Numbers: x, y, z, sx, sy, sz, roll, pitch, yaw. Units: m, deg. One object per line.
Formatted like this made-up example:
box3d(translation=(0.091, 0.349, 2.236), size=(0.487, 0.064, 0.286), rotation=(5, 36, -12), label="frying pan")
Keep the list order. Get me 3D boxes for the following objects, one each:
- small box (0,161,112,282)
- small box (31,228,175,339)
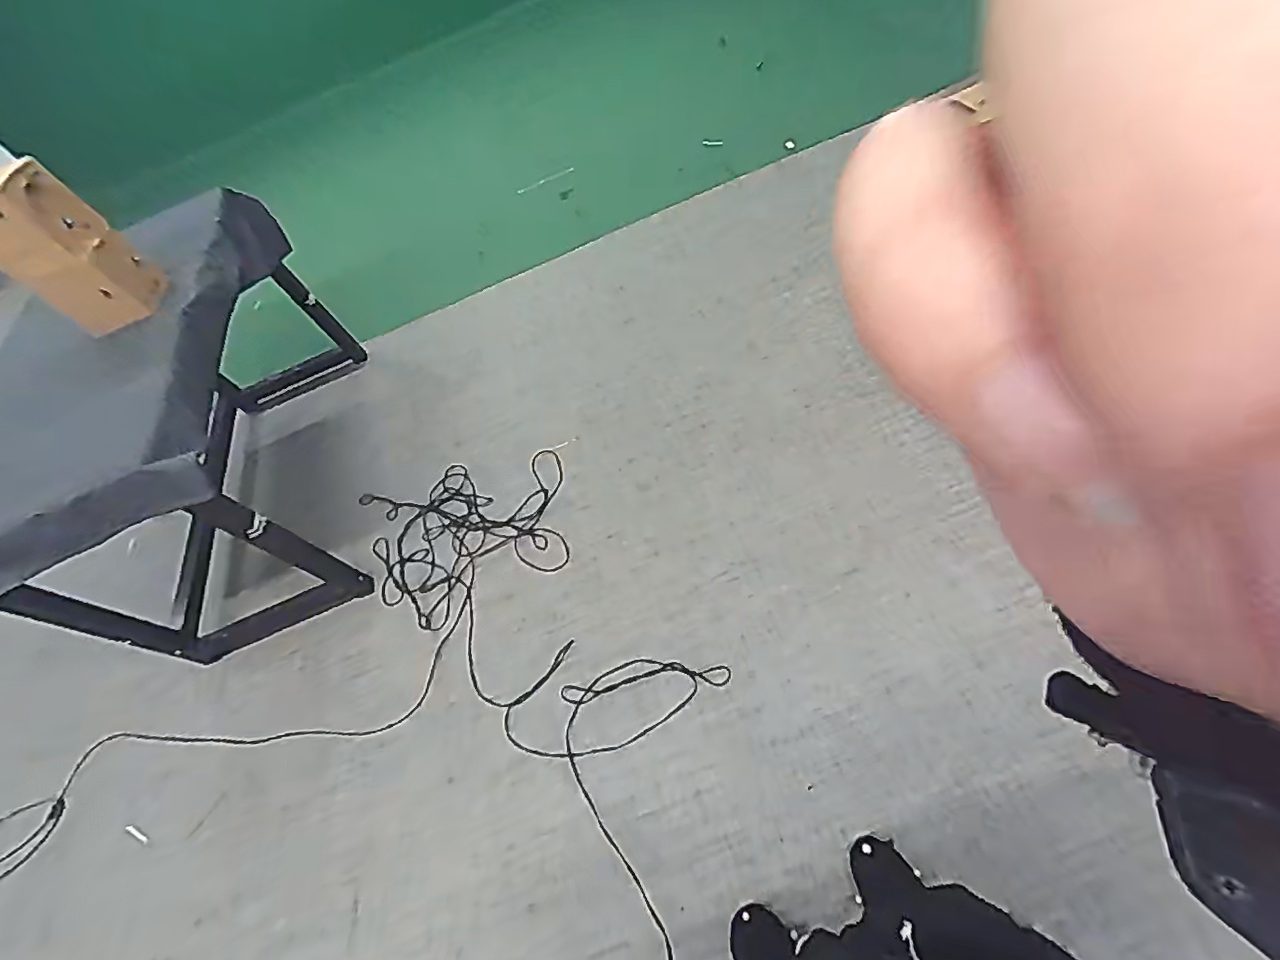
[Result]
box3d(translation=(-1.399, -0.589, 1.246), size=(0.179, 0.176, 0.168), rotation=(-16, 54, 6), label="small box")
box3d(translation=(-1.339, -0.492, 1.365), size=(0.179, 0.176, 0.168), rotation=(-21, 54, 5), label="small box")
